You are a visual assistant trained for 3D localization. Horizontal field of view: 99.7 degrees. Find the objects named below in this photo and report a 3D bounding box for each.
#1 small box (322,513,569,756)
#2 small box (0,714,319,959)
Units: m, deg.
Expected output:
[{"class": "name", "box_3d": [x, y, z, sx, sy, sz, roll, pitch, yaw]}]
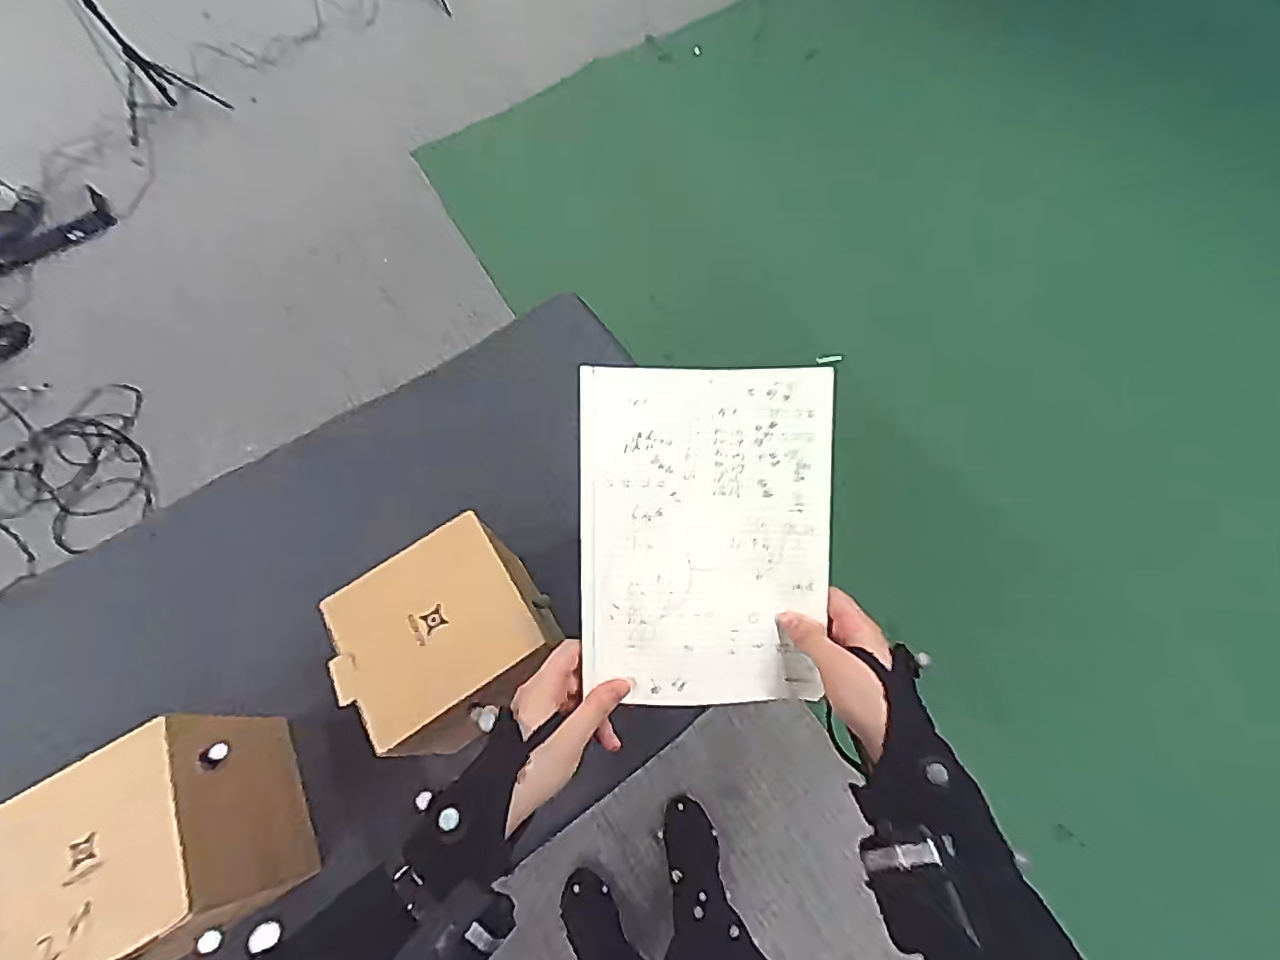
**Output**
[{"class": "small box", "box_3d": [-0.193, 0.169, 0.589, 0.179, 0.176, 0.168, -34, 66, -8]}, {"class": "small box", "box_3d": [-0.460, 0.357, 0.533, 0.168, 0.176, 0.179, -30, 66, -7]}]
